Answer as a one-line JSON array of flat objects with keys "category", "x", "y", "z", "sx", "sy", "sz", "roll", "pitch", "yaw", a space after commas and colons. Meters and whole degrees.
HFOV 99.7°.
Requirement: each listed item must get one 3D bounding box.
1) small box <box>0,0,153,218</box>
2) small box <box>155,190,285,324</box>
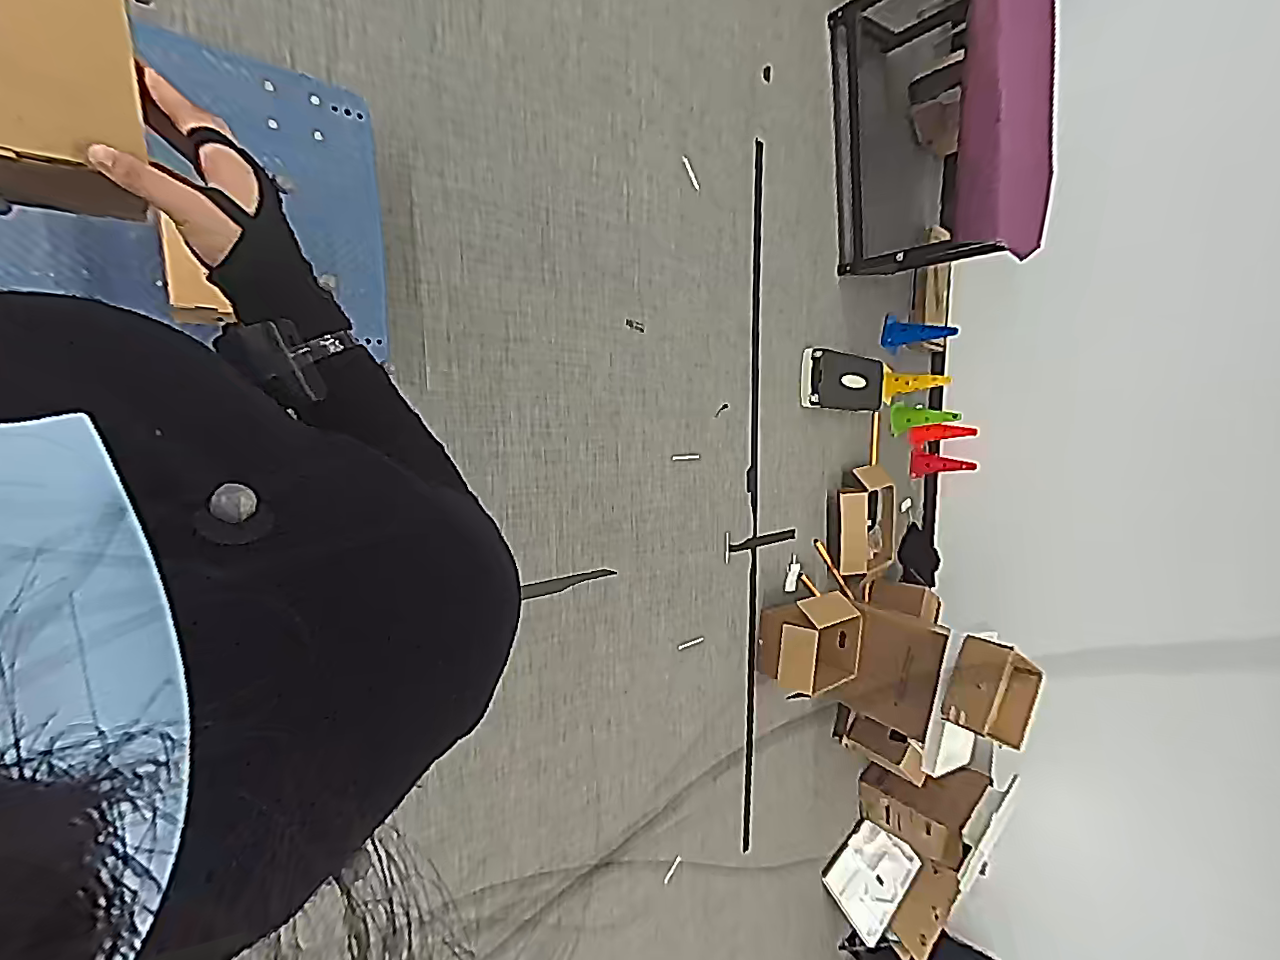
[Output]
[{"category": "small box", "x": -0.427, "y": -0.285, "z": 0.336, "sx": 0.168, "sy": 0.176, "sz": 0.179, "roll": -9, "pitch": 106, "yaw": -41}, {"category": "small box", "x": -0.756, "y": -0.387, "z": 0.974, "sx": 0.168, "sy": 0.176, "sz": 0.179, "roll": -8, "pitch": 101, "yaw": -40}]
